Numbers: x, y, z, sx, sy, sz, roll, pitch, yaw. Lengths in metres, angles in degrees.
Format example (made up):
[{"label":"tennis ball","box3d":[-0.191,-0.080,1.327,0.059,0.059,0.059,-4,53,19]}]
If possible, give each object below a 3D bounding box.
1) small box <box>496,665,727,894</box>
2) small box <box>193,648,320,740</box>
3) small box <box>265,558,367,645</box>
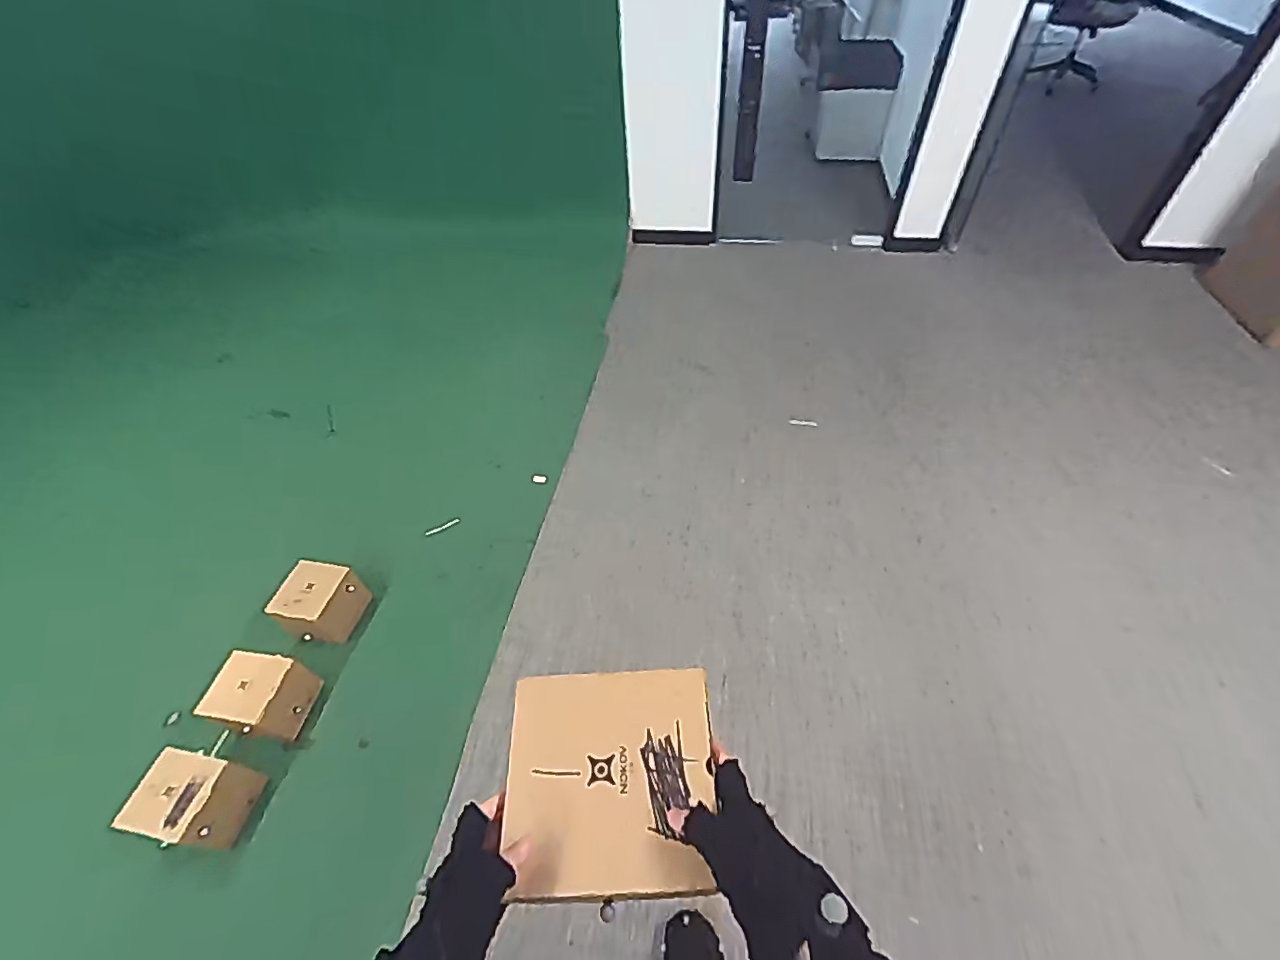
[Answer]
[{"label":"small box","box3d":[-0.023,0.287,0.514,0.179,0.176,0.168,-3,51,-1]},{"label":"small box","box3d":[-0.995,0.565,1.421,0.179,0.176,0.168,6,50,7]},{"label":"small box","box3d":[-0.940,0.359,1.594,0.168,0.176,0.179,8,50,10]}]
